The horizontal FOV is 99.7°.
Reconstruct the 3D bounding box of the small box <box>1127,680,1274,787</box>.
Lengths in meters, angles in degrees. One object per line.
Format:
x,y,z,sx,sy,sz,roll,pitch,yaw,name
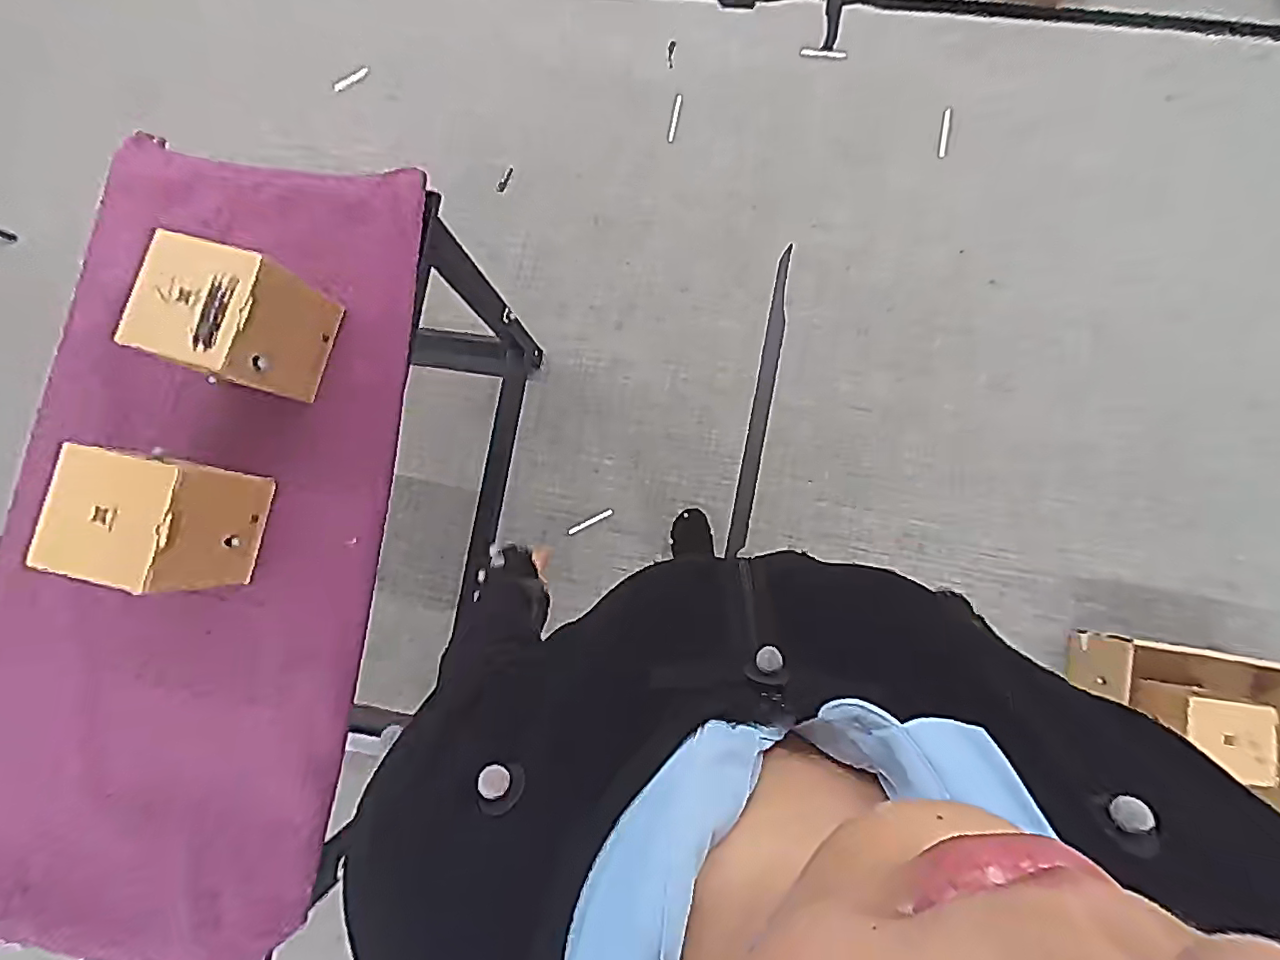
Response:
1.275,0.571,1.242,0.179,0.176,0.168,7,85,5,small box

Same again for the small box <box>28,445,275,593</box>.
-0.678,0.058,0.772,0.179,0.176,0.168,11,84,6,small box
